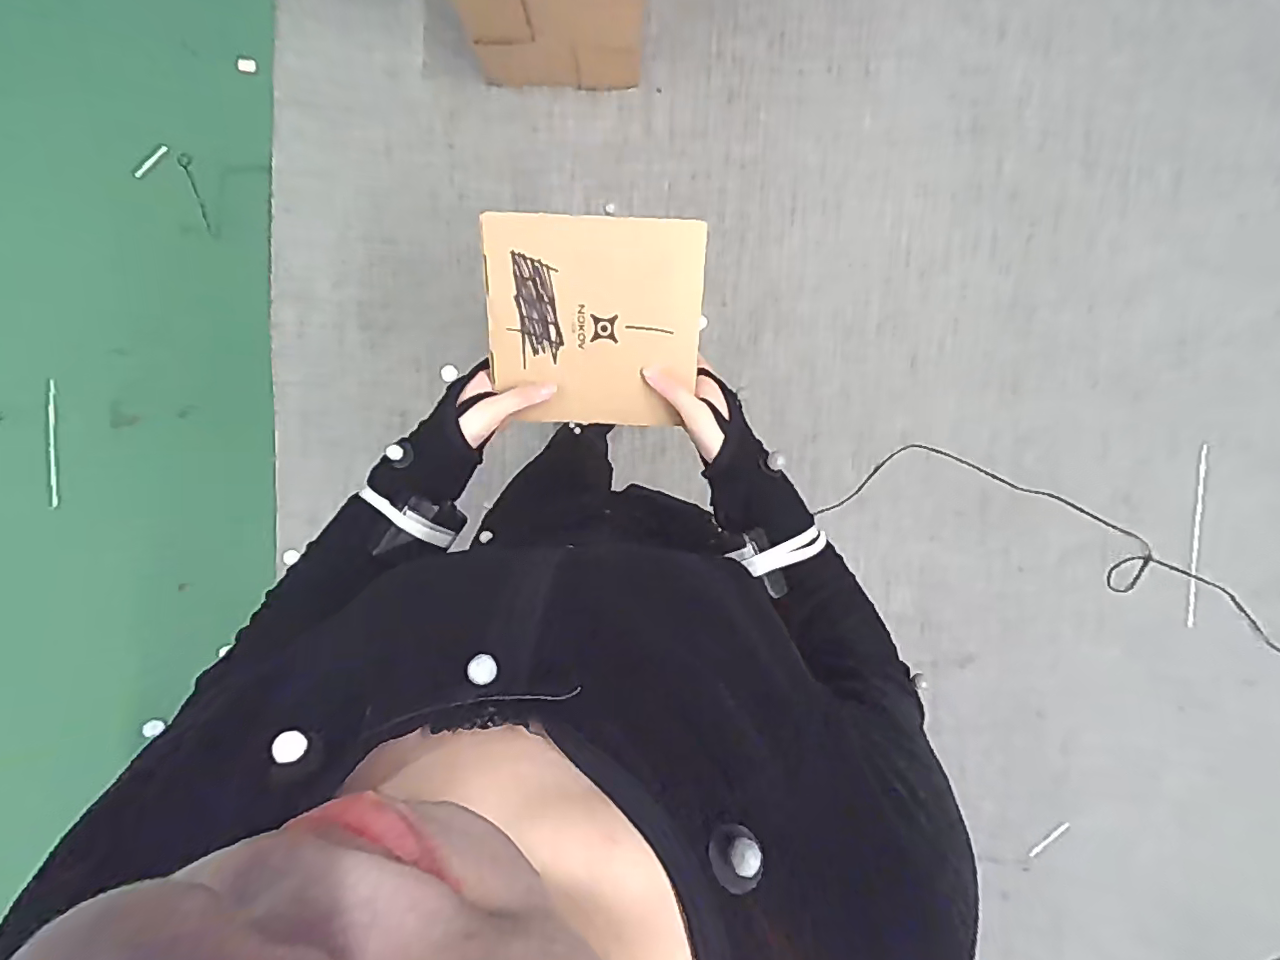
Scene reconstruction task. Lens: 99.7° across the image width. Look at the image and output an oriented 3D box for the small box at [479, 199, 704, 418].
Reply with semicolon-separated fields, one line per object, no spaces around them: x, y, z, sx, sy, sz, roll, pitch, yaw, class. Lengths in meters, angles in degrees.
-0.041;-0.165;0.517;0.179;0.176;0.168;3;113;-1;small box
